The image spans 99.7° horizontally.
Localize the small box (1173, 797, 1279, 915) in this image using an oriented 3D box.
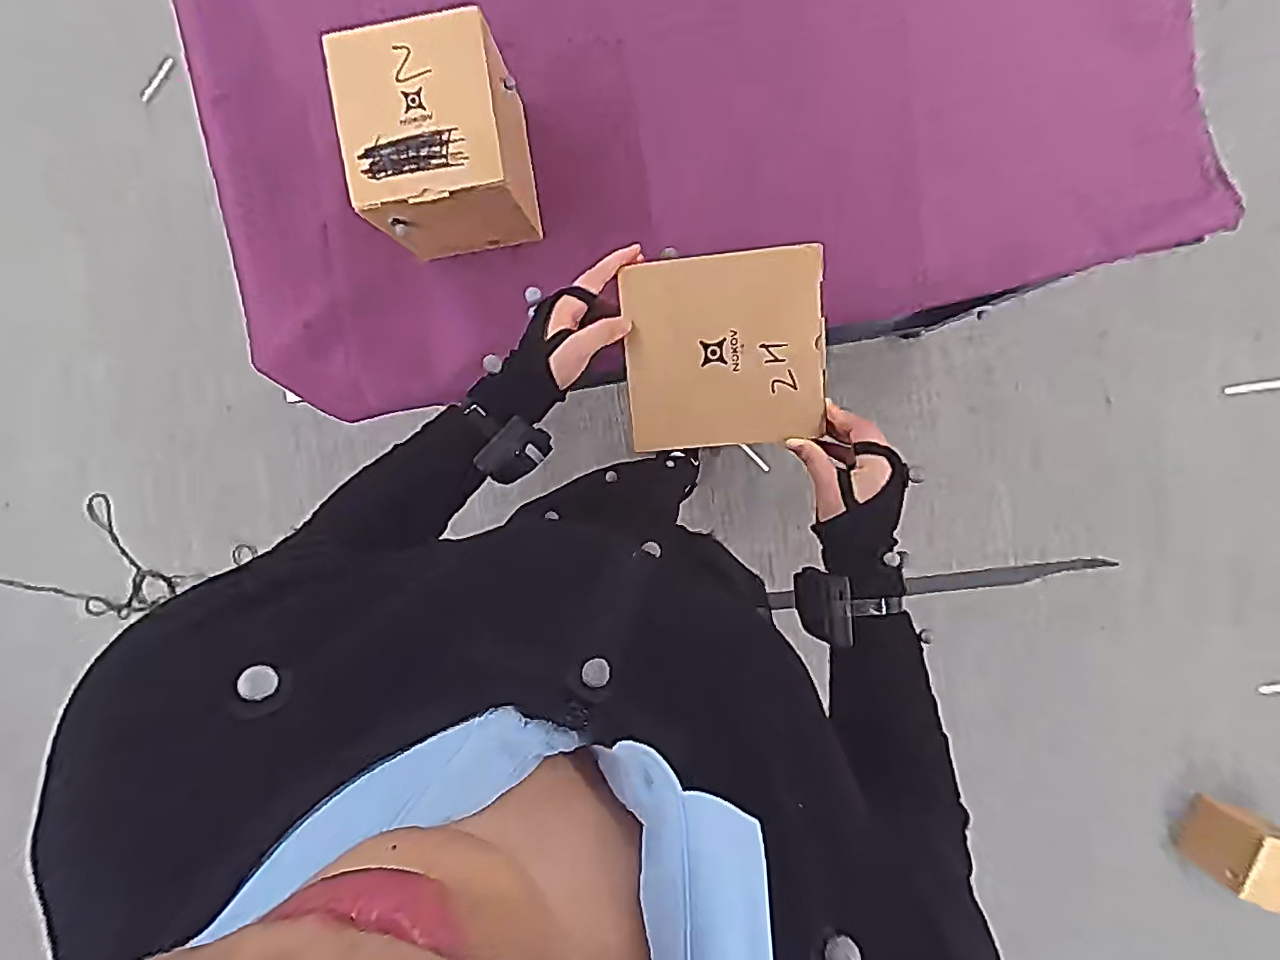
[{"bbox_3d":[1.556,0.966,1.399,0.168,0.176,0.179,17,96,1],"label":"small box"}]
